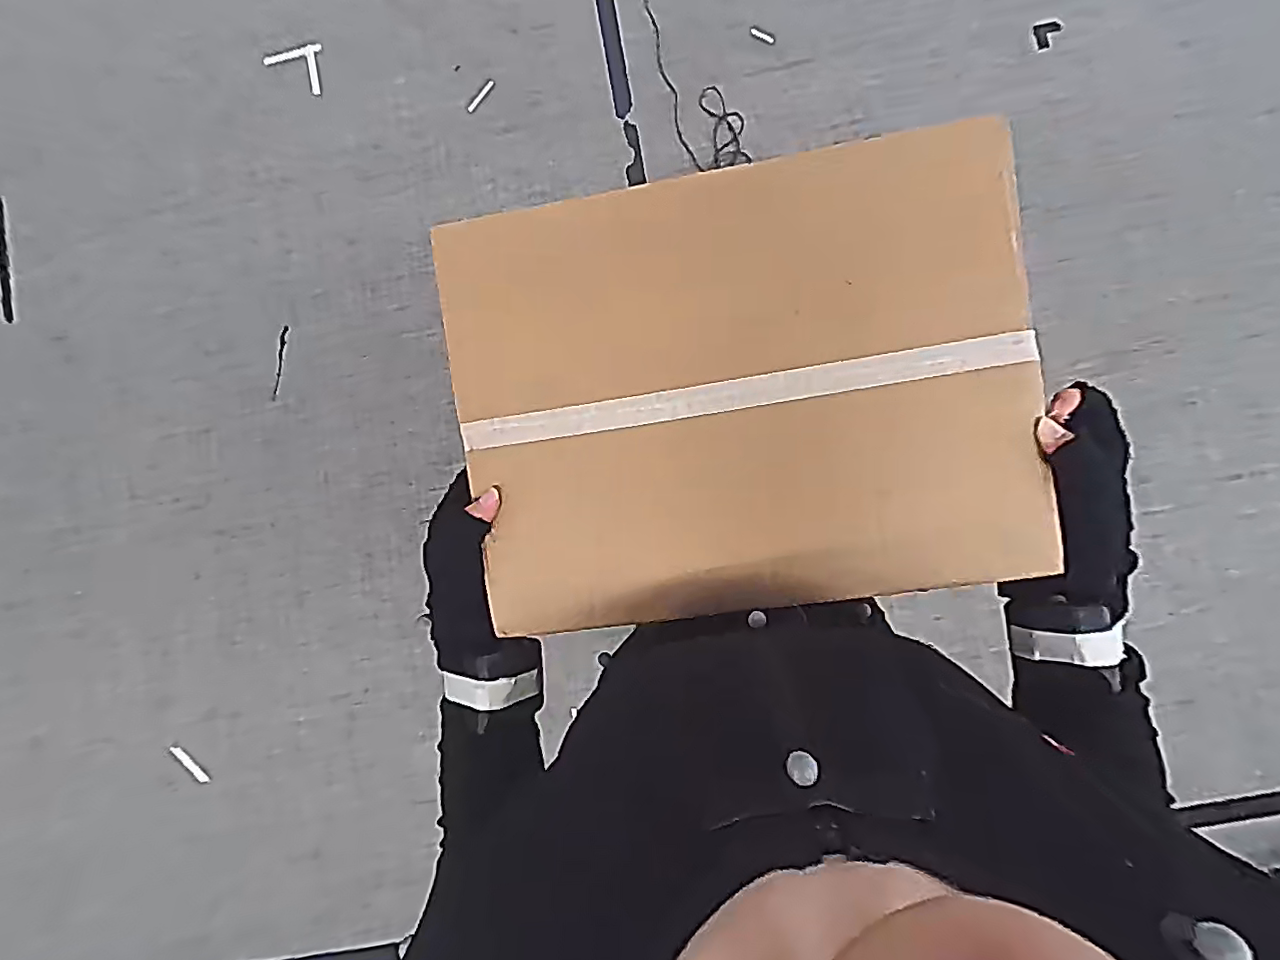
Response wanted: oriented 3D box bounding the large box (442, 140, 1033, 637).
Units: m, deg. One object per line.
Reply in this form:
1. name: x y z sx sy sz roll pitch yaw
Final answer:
1. large box: 0.079 -0.064 0.548 0.408 0.320 0.320 -8 91 6
